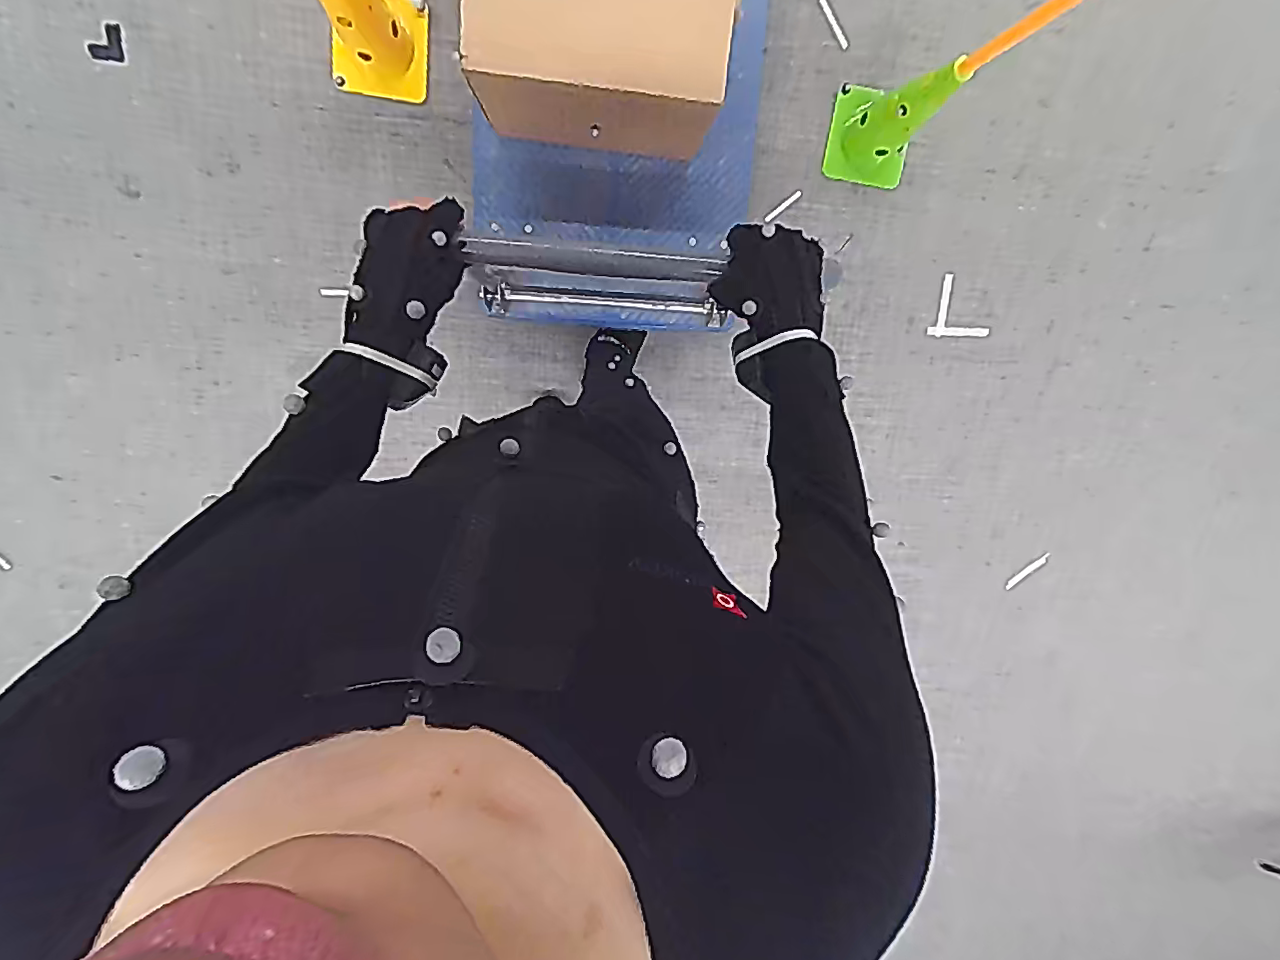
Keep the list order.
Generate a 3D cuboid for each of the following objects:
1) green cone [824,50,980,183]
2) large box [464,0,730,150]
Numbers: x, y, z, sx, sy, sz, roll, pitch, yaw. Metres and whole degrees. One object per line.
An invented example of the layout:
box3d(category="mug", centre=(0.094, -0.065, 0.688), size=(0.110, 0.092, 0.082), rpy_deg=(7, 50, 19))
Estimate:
box3d(category="green cone", centre=(0.570, -0.793, 1.140), size=(0.202, 0.368, 0.200), rpy_deg=(6, 105, -7))
box3d(category="large box", centre=(-0.066, -0.802, 0.938), size=(0.408, 0.320, 0.320), rpy_deg=(4, 106, -5))
